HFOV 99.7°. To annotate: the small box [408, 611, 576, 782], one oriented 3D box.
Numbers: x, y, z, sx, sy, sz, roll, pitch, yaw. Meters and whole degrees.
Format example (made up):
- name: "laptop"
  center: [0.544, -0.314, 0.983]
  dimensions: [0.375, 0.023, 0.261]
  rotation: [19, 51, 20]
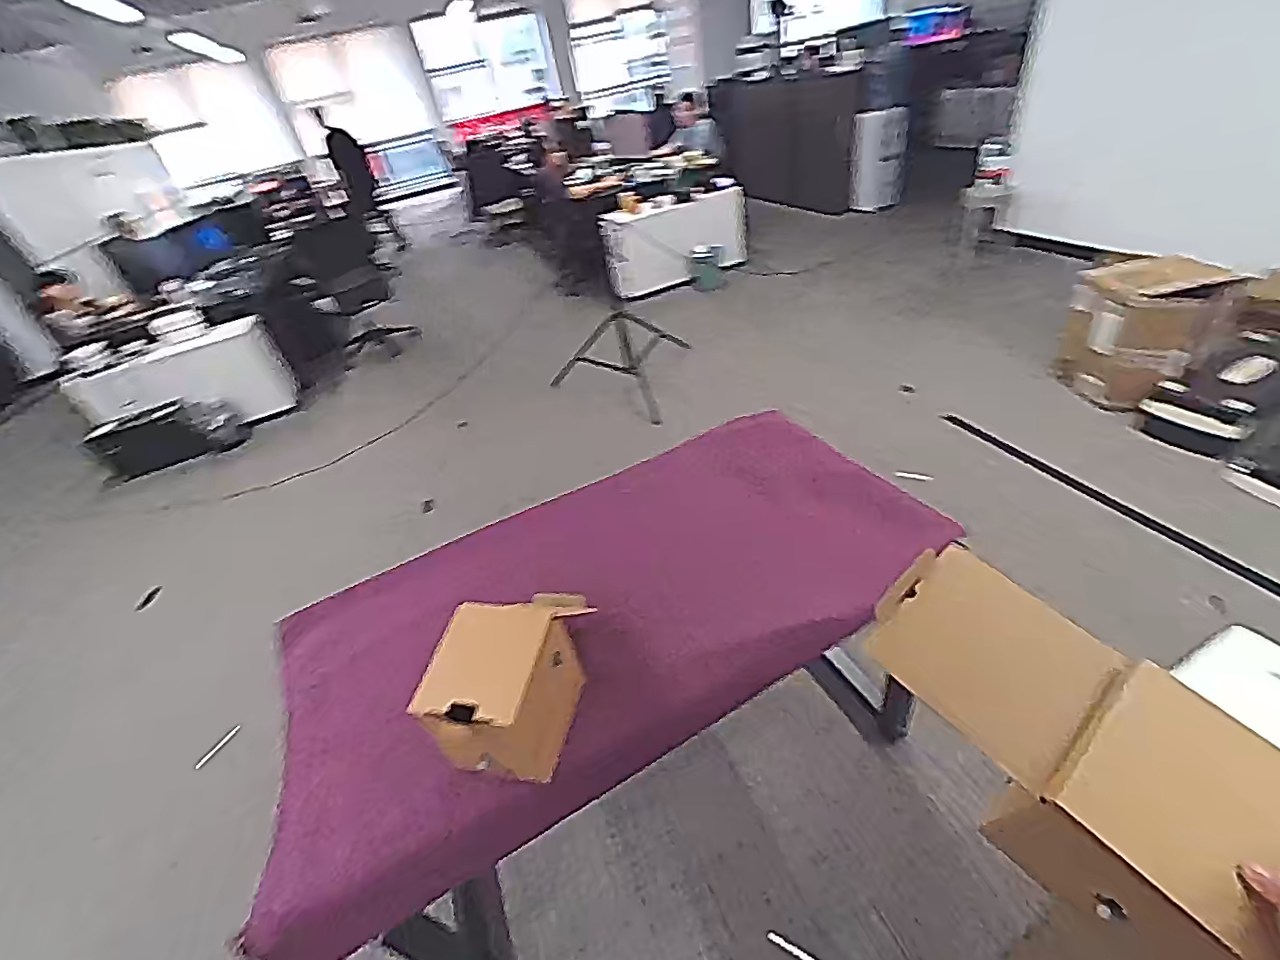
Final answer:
- name: "small box"
  center: [-0.211, 0.327, 0.832]
  dimensions: [0.168, 0.176, 0.179]
  rotation: [-1, 38, 18]
